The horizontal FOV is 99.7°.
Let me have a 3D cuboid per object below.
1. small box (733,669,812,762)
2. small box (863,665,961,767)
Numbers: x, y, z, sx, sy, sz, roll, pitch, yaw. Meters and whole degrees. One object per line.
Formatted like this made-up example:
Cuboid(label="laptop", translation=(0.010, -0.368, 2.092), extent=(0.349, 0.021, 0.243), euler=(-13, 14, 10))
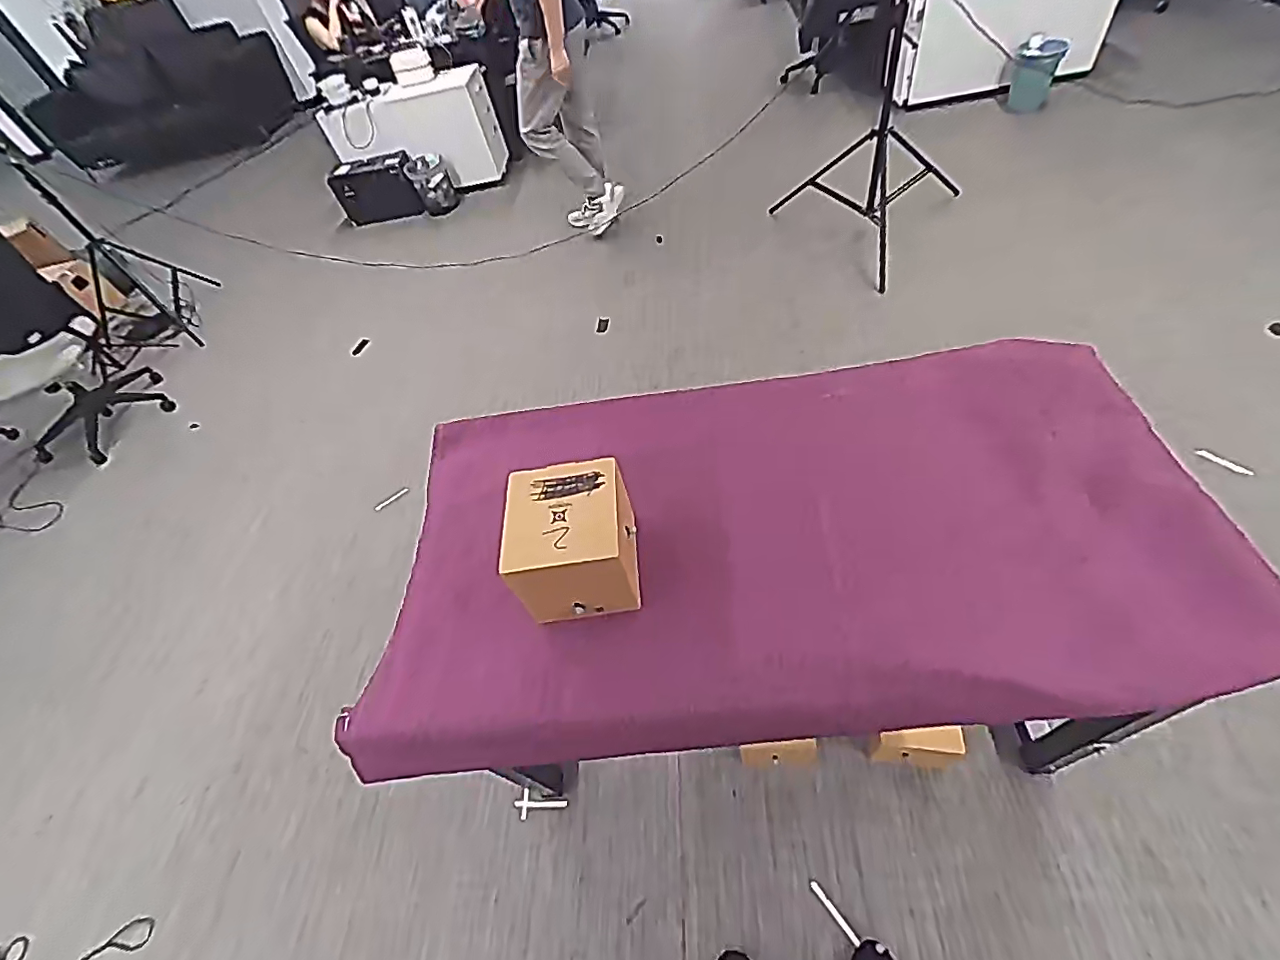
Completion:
Cuboid(label="small box", translation=(0.316, 0.570, 1.302), extent=(0.168, 0.176, 0.179), euler=(-4, 51, 9))
Cuboid(label="small box", translation=(0.620, 0.550, 1.253), extent=(0.168, 0.176, 0.179), euler=(1, 52, 14))
